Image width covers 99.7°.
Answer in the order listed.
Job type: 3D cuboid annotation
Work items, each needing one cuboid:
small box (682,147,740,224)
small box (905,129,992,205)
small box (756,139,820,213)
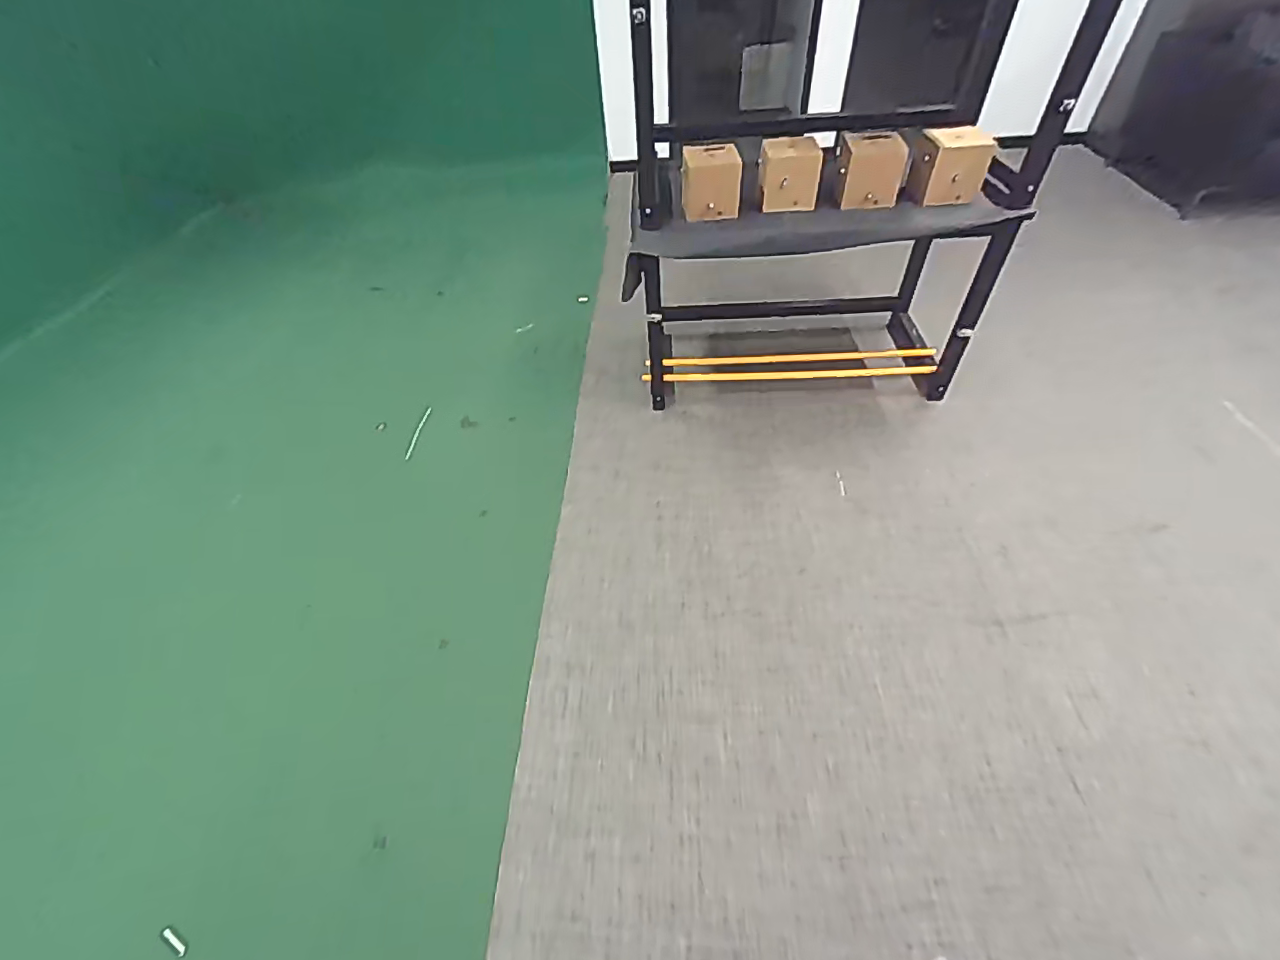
[{"bbox_3d":[0.223,-0.948,1.744,0.168,0.176,0.179,-4,48,1],"label":"small box"},{"bbox_3d":[0.966,-0.984,1.710,0.168,0.176,0.179,-2,47,3],"label":"small box"},{"bbox_3d":[0.475,-0.981,1.754,0.168,0.176,0.179,-1,47,4],"label":"small box"}]
